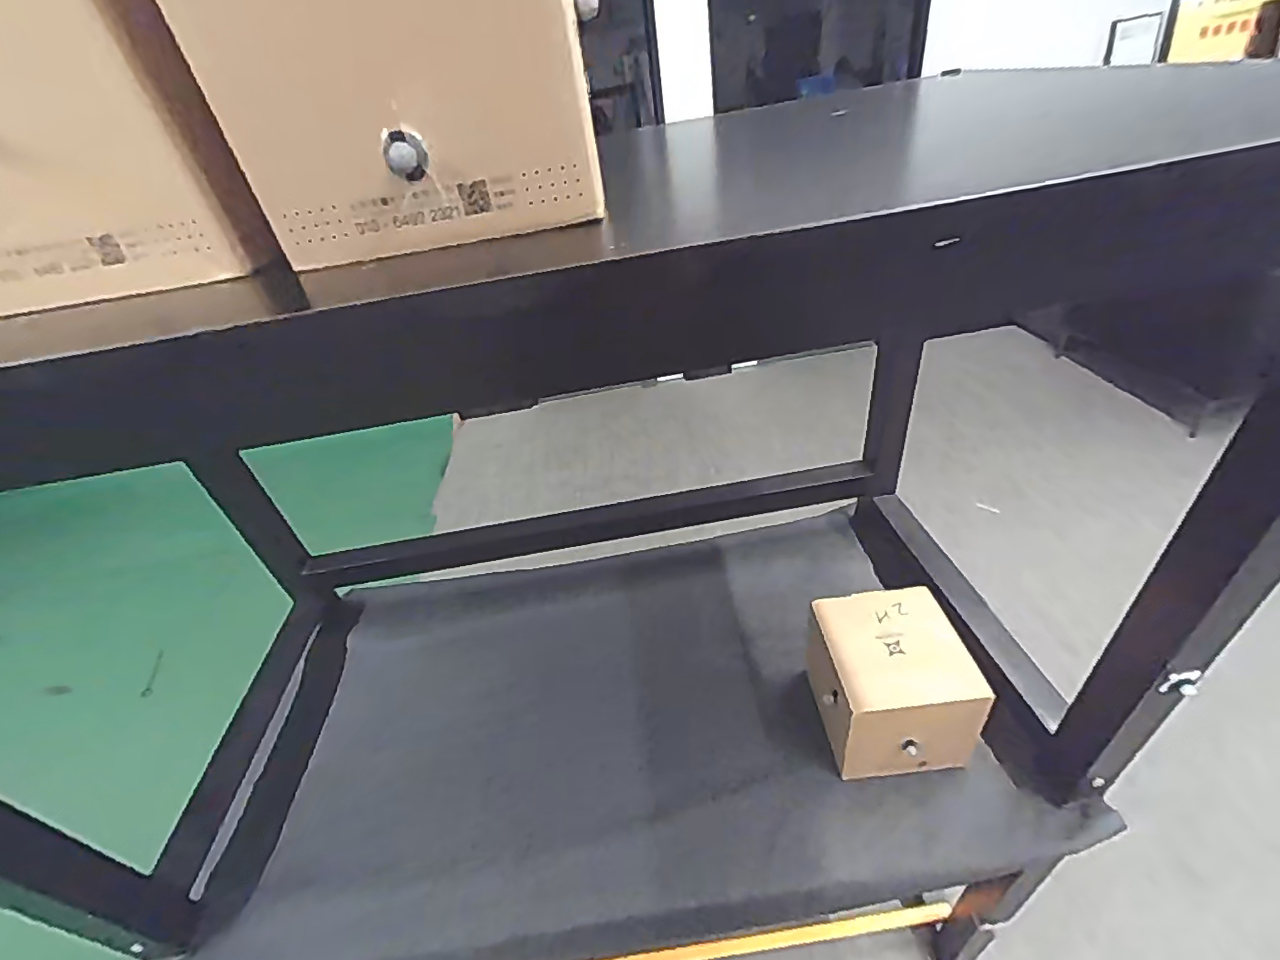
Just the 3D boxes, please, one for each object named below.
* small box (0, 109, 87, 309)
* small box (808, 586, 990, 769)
[{"bbox_3d":[-0.502,-0.172,0.317,0.168,0.176,0.179,-9,37,1],"label":"small box"},{"bbox_3d":[0.337,0.275,0.745,0.168,0.176,0.179,-7,36,3],"label":"small box"}]
